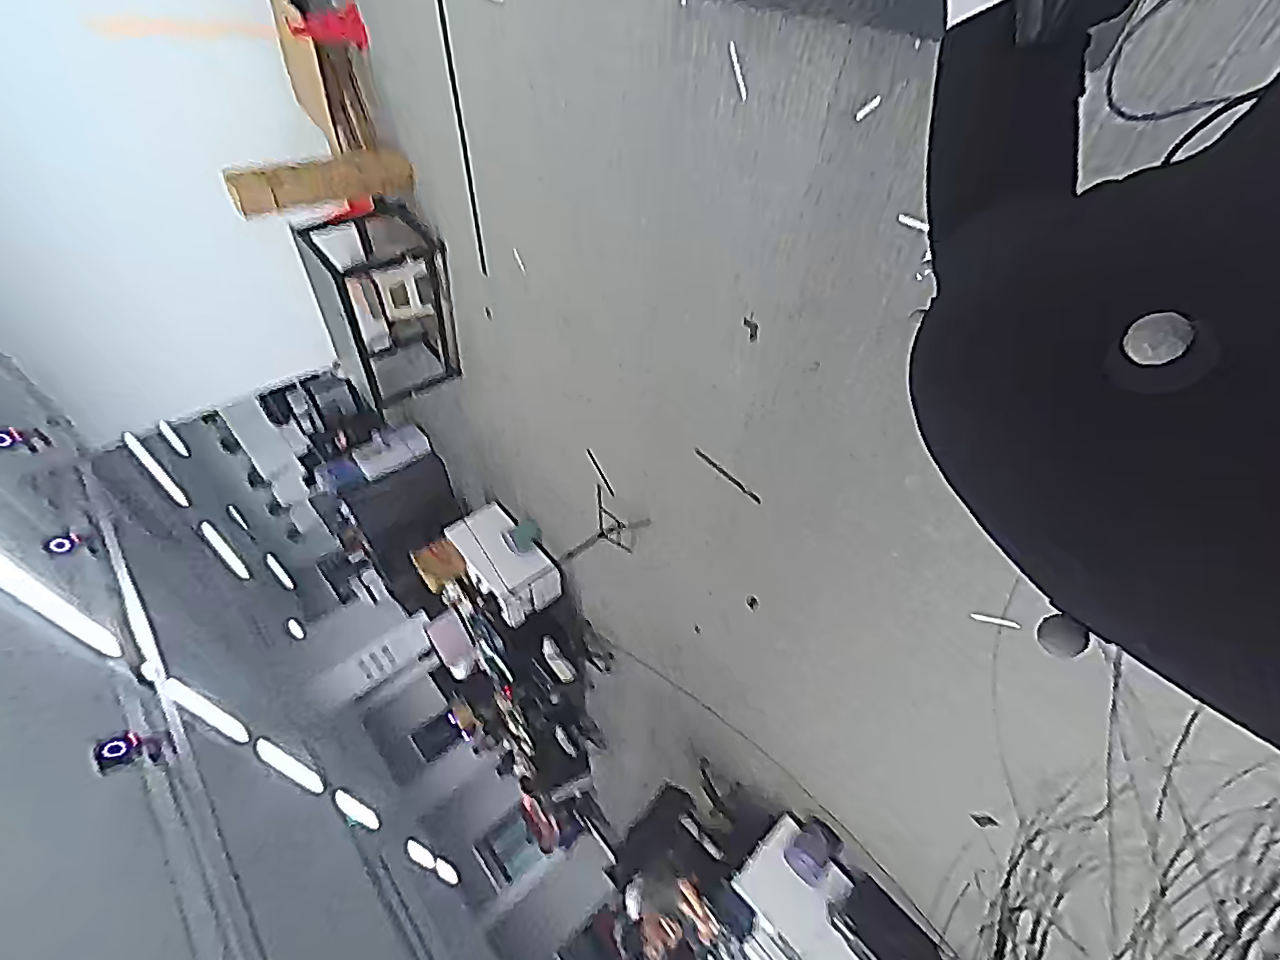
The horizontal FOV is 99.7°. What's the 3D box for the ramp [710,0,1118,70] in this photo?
[{"bbox_3d":[0.458,-1.184,1.030,0.991,0.206,0.509,38,144,28],"label":"ramp"}]
